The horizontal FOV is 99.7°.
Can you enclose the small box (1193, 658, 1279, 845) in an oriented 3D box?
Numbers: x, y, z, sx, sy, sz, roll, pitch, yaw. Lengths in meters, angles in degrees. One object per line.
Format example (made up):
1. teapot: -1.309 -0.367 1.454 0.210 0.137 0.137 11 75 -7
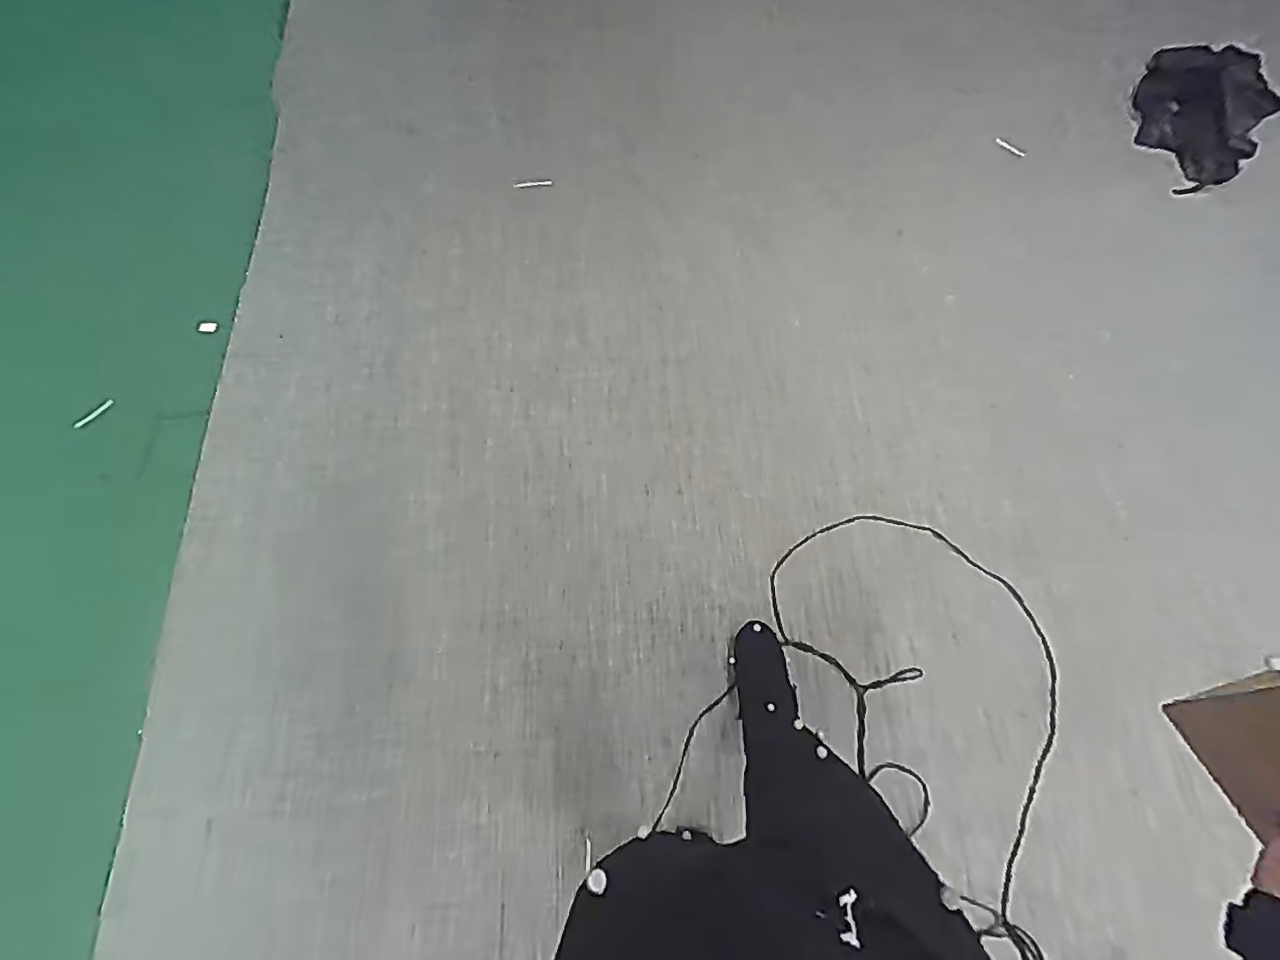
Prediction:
1. small box: 0.558 0.199 0.374 0.179 0.176 0.168 -20 61 2
